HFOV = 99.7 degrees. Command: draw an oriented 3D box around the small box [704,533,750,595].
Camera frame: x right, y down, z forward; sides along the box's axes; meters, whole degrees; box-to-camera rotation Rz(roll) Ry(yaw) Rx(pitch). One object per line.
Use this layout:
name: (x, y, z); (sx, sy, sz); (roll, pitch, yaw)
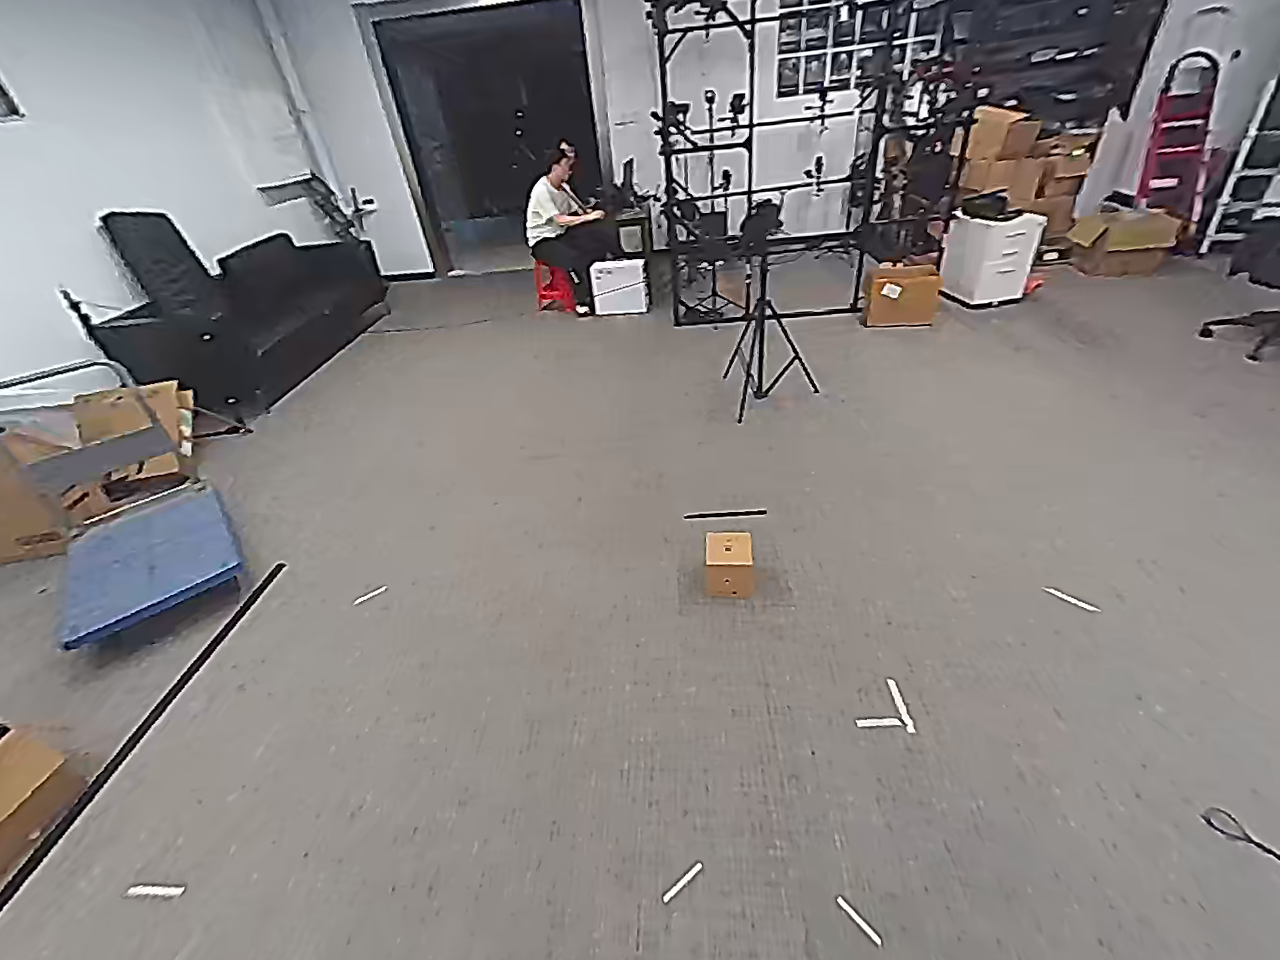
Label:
small box: (0.328, 0.317, 2.036); (0.168, 0.176, 0.179); (-1, 35, 8)
